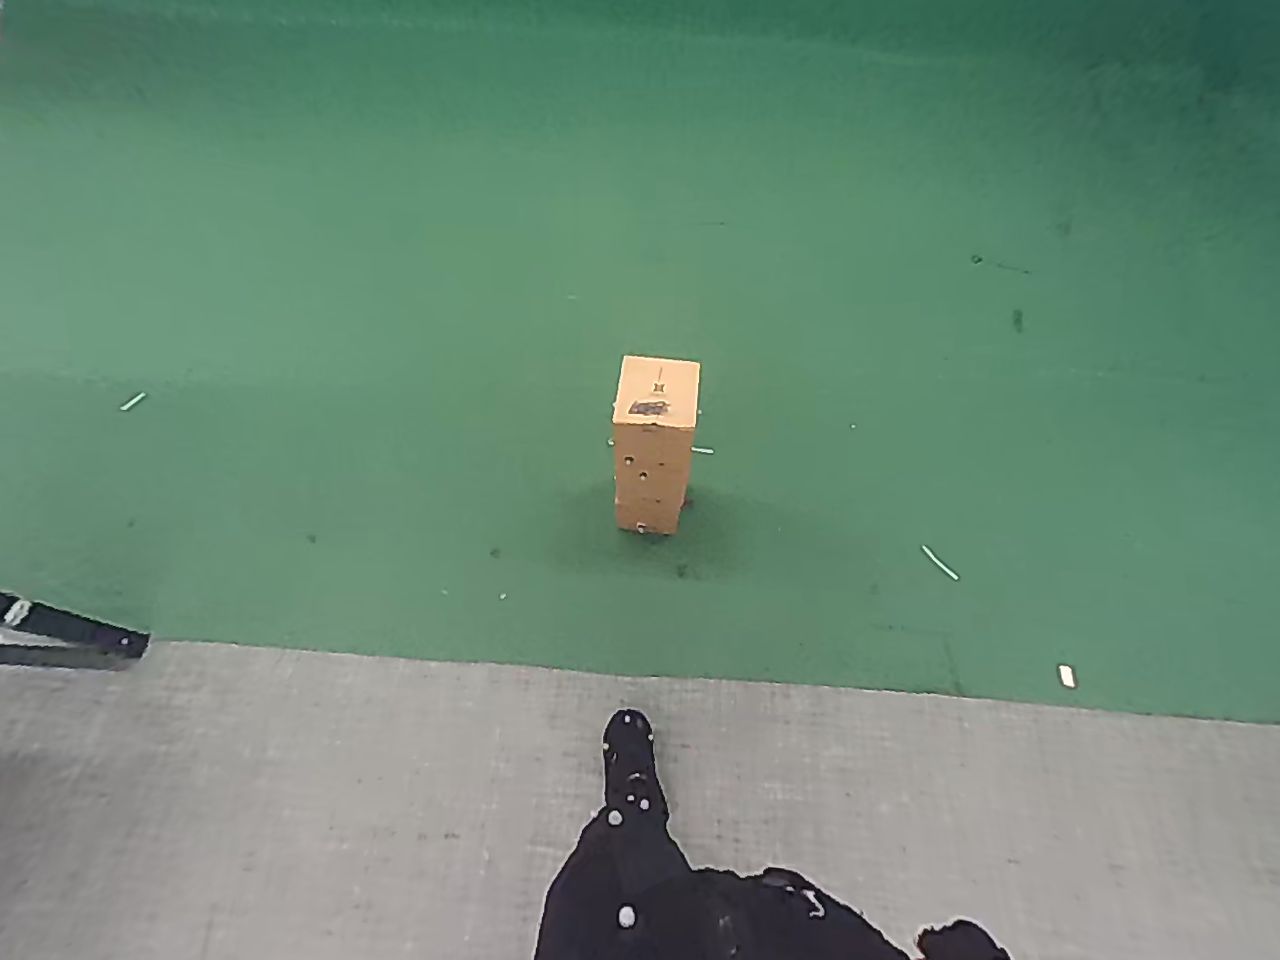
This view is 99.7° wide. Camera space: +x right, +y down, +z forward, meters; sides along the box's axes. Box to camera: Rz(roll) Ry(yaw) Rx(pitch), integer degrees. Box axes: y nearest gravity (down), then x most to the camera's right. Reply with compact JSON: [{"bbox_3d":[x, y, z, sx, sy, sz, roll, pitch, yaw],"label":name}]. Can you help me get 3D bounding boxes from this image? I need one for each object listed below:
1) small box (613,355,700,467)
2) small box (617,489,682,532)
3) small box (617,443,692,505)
[{"bbox_3d":[0.036,-0.146,1.178,0.168,0.176,0.179,6,60,2],"label":"small box"},{"bbox_3d":[0.031,0.022,1.461,0.168,0.176,0.179,5,63,2],"label":"small box"},{"bbox_3d":[0.037,-0.061,1.319,0.168,0.176,0.179,6,60,3],"label":"small box"}]
